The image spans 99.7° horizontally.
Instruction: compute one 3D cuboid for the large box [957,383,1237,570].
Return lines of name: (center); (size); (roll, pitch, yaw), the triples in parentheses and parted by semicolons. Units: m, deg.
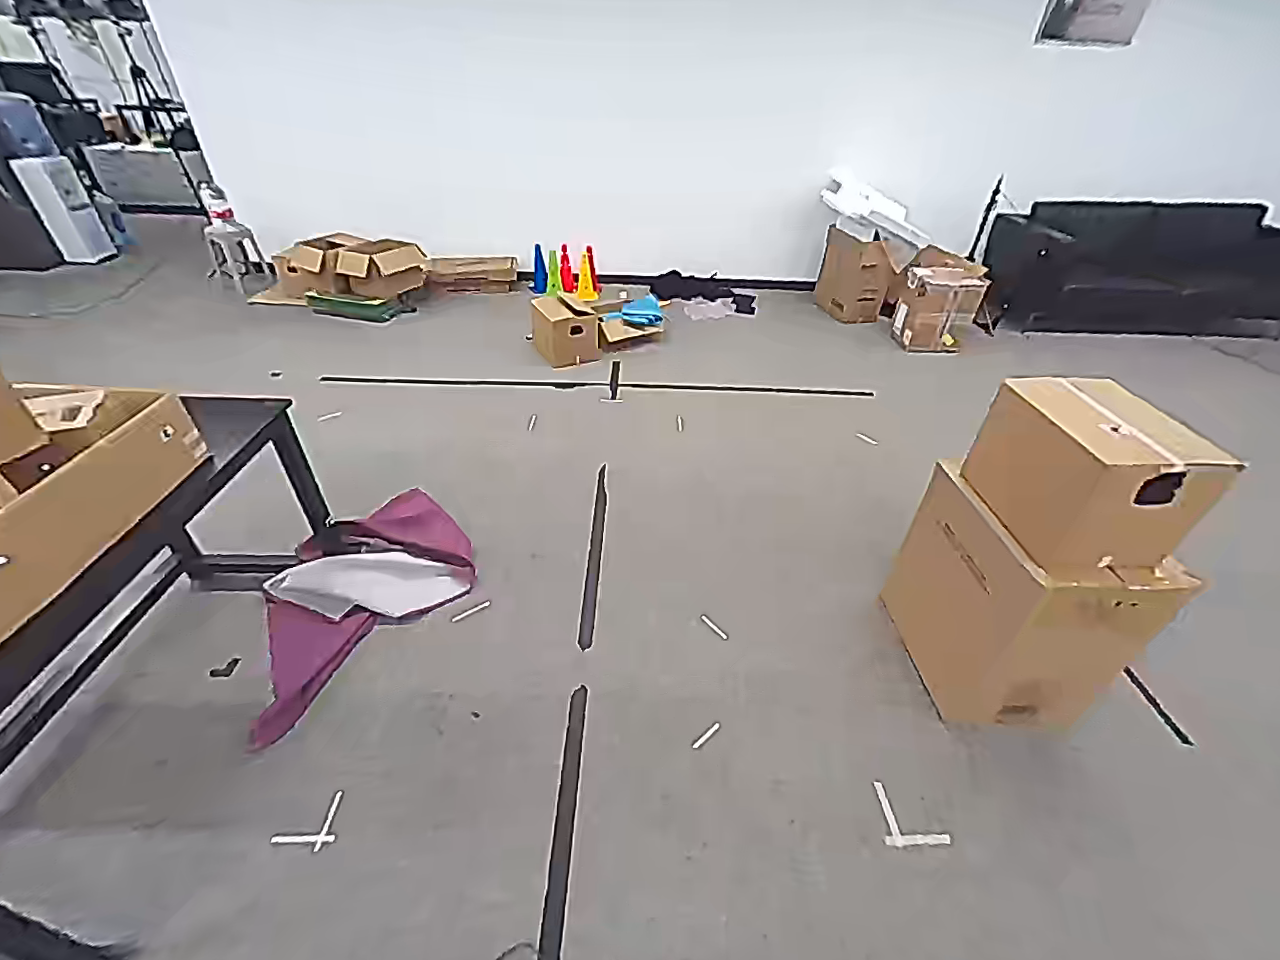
large box: (1.120, -0.019, 1.401); (0.320, 0.320, 0.408); (-1, 38, -3)
